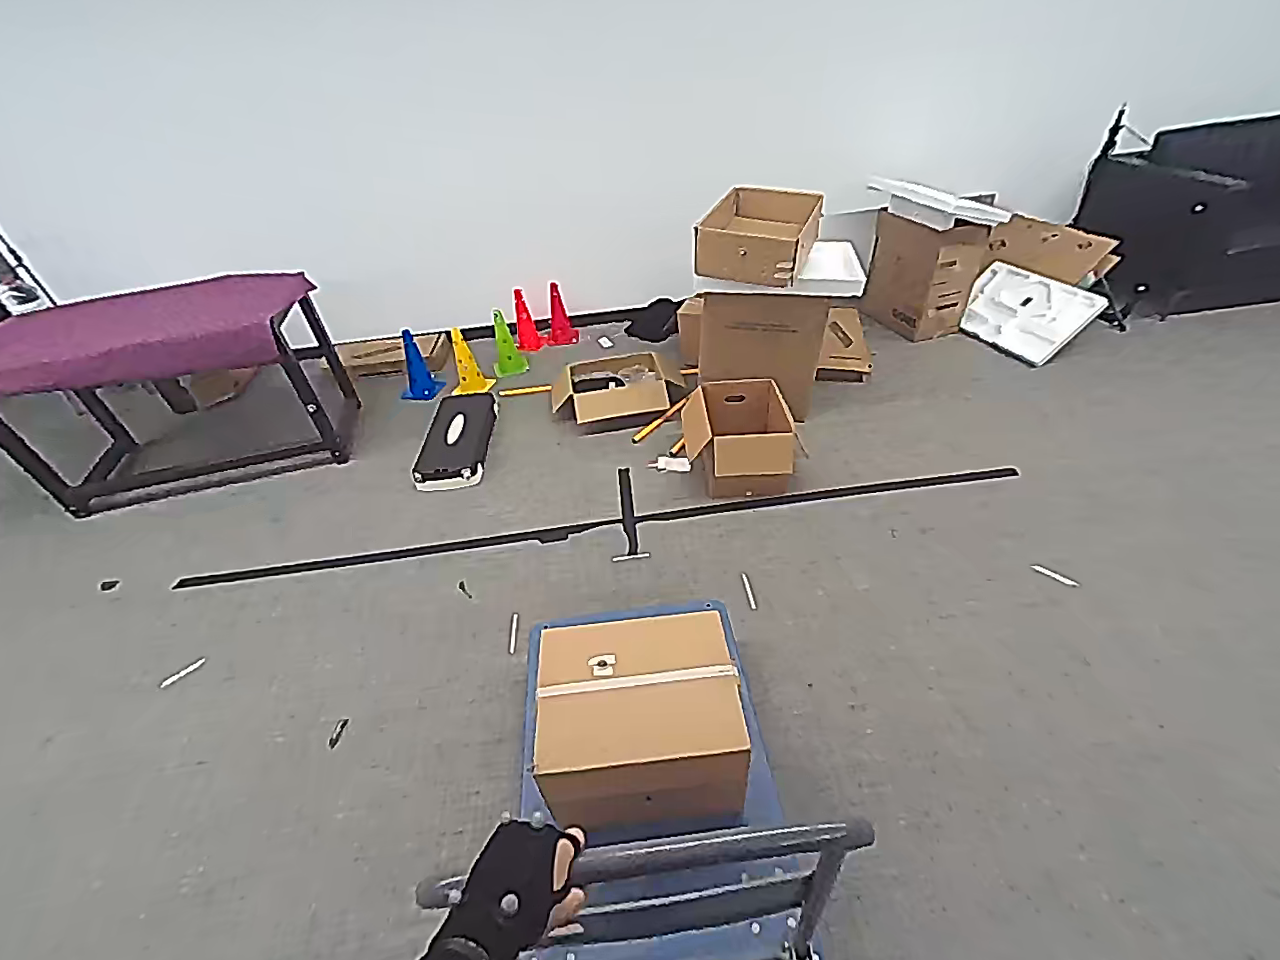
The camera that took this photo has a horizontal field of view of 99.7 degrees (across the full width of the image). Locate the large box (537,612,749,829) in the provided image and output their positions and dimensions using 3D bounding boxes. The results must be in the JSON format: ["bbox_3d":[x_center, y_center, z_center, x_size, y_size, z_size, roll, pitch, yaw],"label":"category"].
[{"bbox_3d":[0.006,0.536,1.208,0.408,0.320,0.320,-7,39,0],"label":"large box"}]
